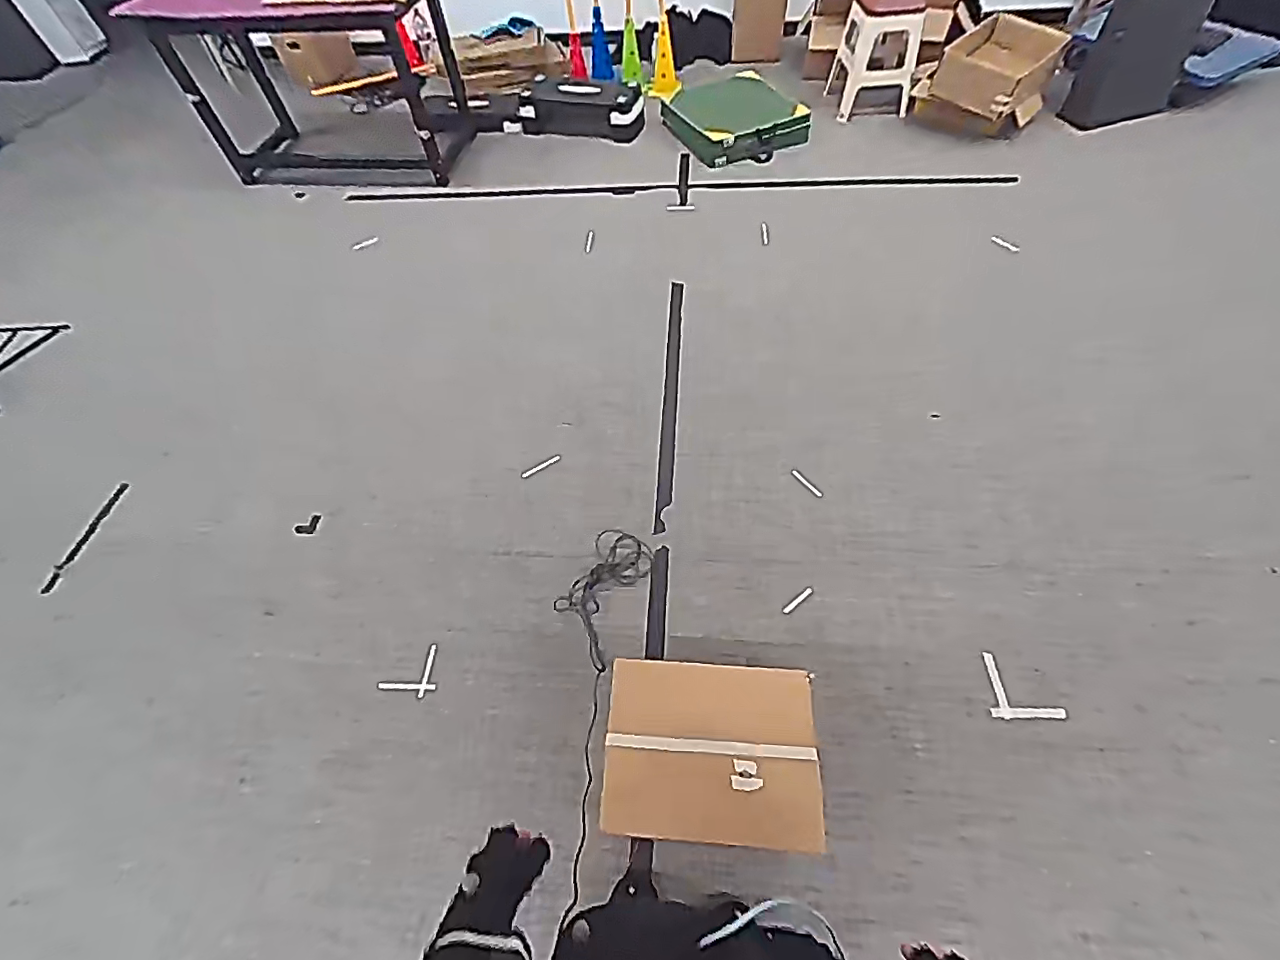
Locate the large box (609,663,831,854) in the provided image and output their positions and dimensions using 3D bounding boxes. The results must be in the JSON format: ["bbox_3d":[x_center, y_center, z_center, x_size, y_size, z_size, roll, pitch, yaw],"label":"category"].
[{"bbox_3d":[0.153,0.606,1.168,0.408,0.320,0.320,3,57,4],"label":"large box"}]
